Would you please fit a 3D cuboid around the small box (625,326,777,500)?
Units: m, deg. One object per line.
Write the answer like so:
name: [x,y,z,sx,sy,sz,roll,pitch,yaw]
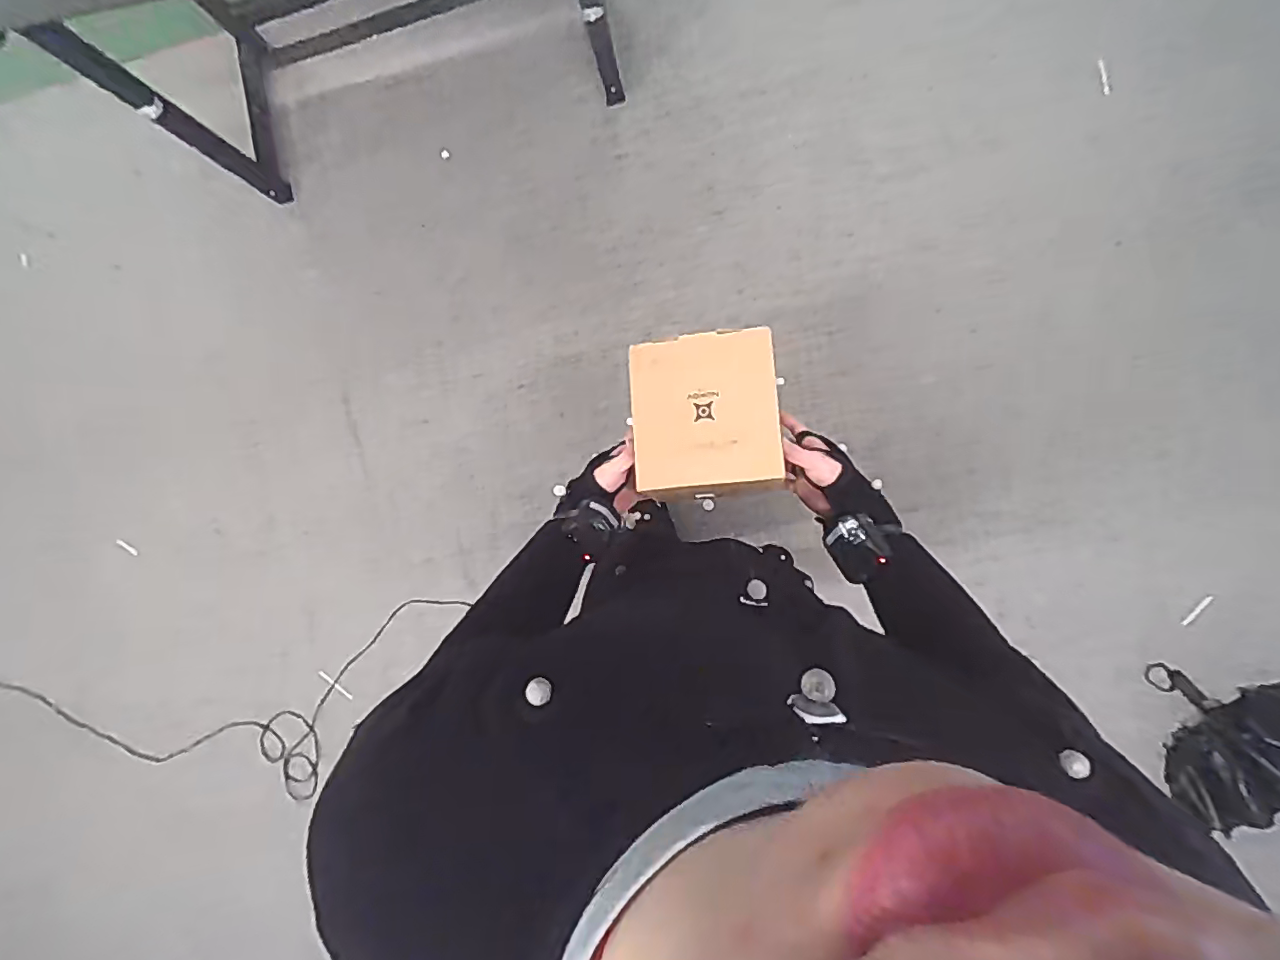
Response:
small box: [0.079,-0.072,0.688,0.168,0.176,0.179,-5,83,10]
